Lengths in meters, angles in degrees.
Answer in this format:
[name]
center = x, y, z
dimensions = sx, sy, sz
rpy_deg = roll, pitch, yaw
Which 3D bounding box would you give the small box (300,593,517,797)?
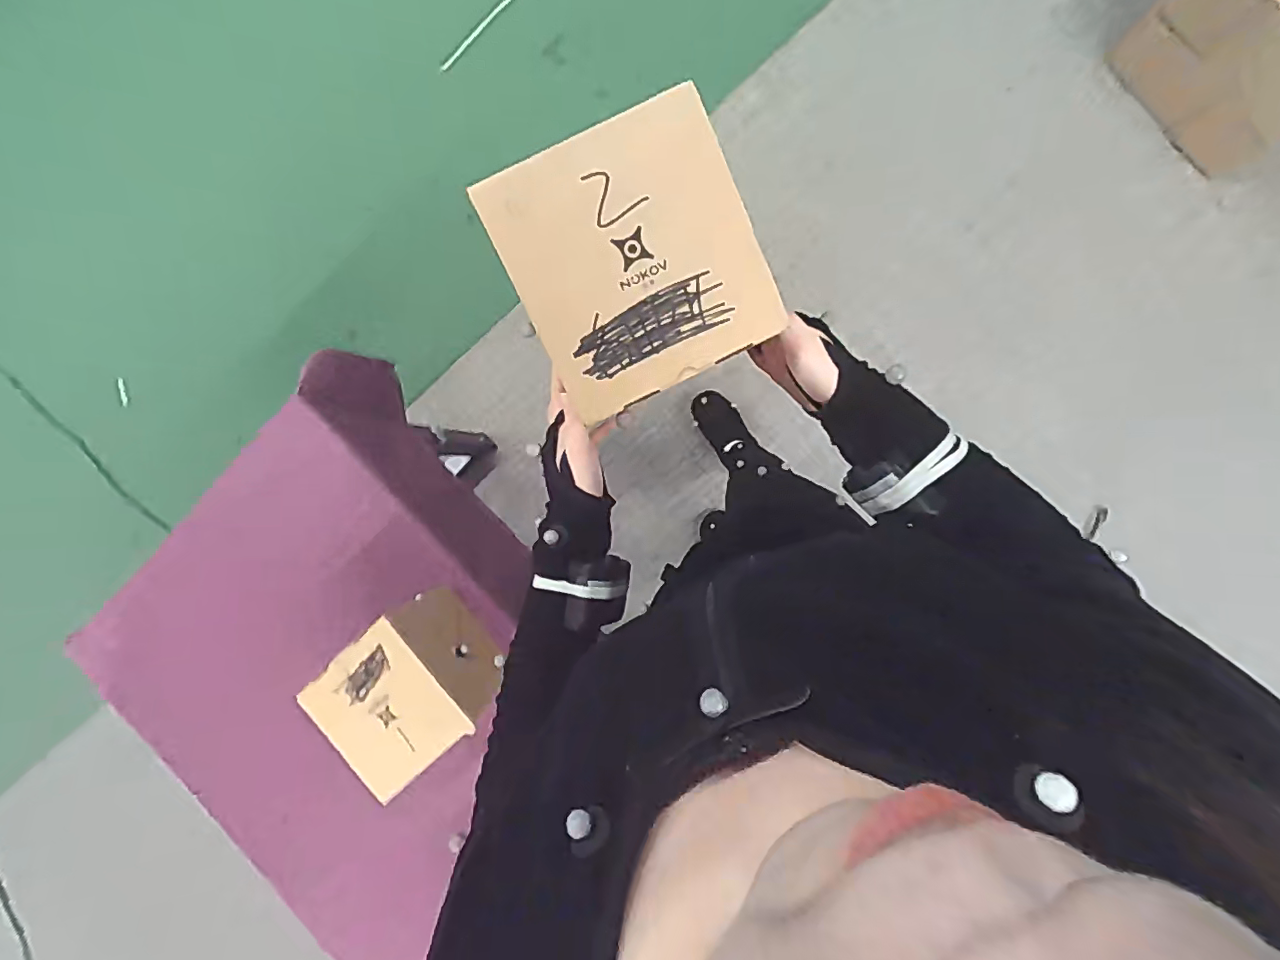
[small box]
center = -0.303, 0.275, 0.743
dimensions = 0.168, 0.176, 0.179
rpy_deg = -42, 88, 7
